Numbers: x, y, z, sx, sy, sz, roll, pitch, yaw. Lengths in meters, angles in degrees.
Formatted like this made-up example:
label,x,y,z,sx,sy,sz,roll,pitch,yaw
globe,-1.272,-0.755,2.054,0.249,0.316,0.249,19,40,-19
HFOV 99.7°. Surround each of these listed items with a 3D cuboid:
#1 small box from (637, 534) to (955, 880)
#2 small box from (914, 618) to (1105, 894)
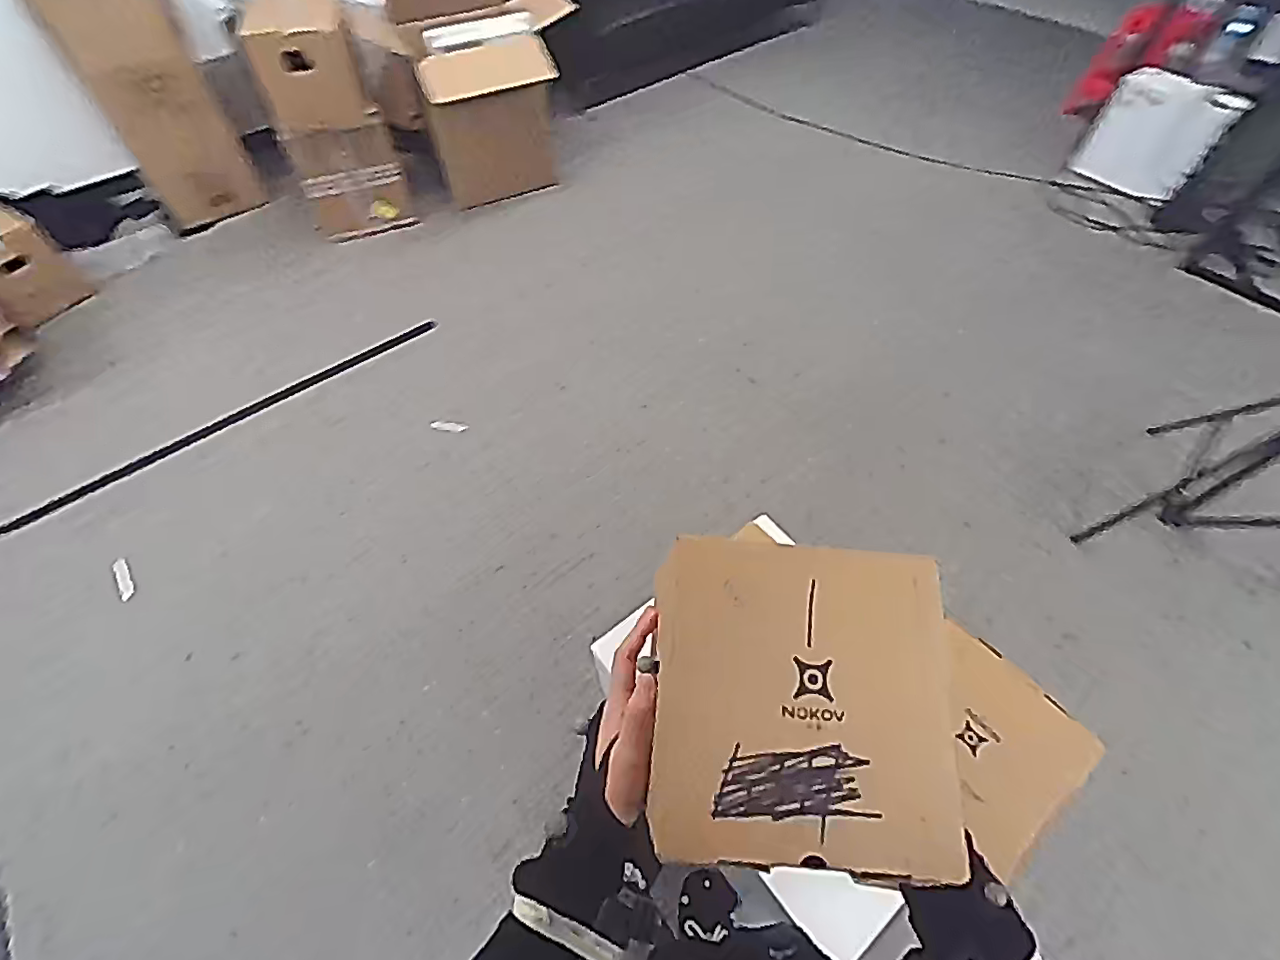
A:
label,x,y,z,sx,sy,sz,roll,pitch,yaw
small box,0.088,0.147,0.385,0.168,0.176,0.179,5,71,-2
small box,0.307,0.282,0.562,0.179,0.176,0.168,-33,60,-20
